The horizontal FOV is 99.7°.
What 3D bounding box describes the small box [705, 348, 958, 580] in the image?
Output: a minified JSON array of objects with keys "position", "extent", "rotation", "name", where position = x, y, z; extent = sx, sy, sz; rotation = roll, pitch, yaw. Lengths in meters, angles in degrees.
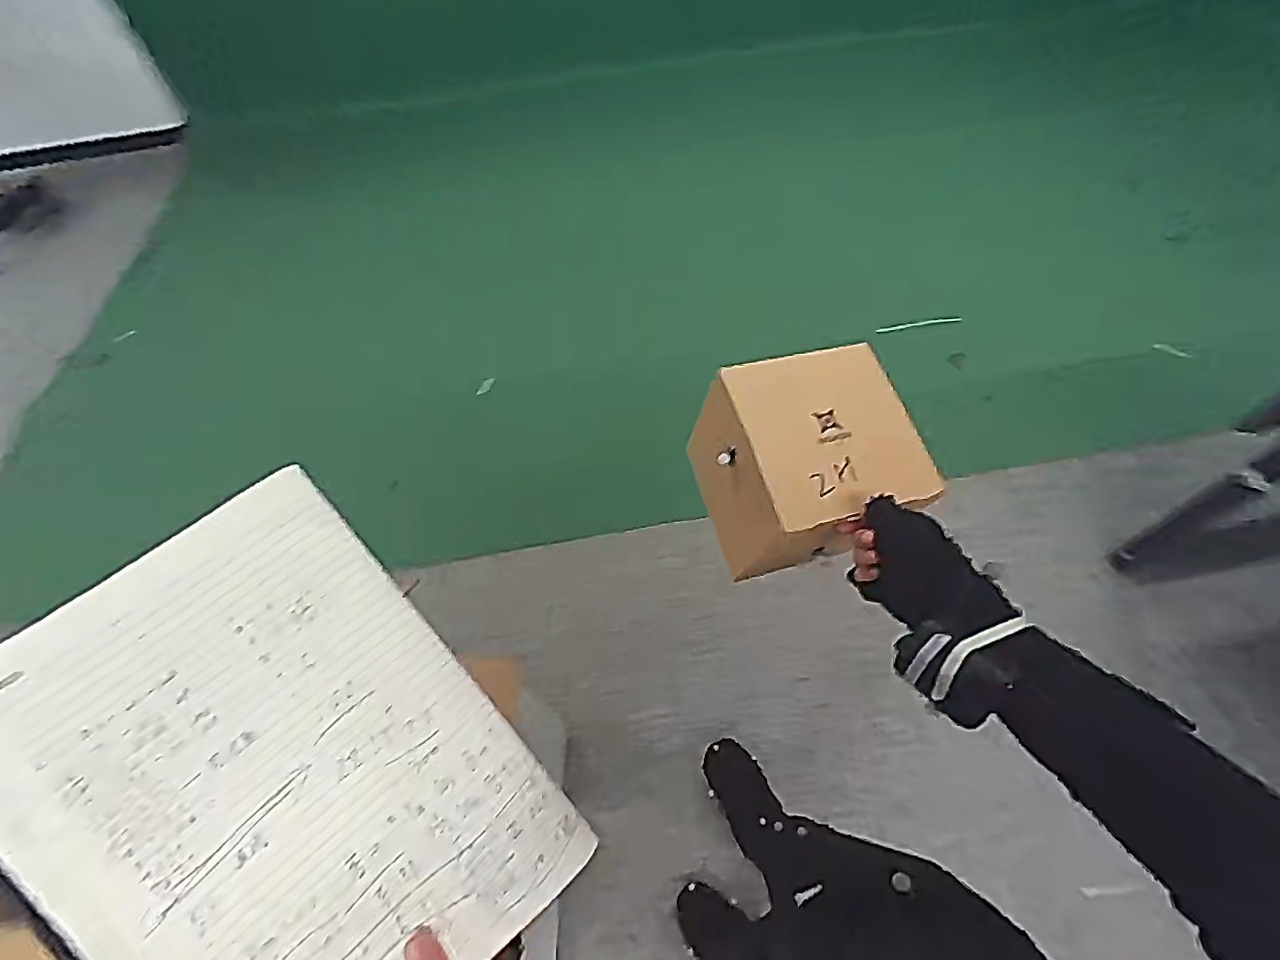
[{"position":[0.181,-0.011,0.577],"extent":[0.168,0.176,0.179],"rotation":[-12,67,-11],"name":"small box"}]
